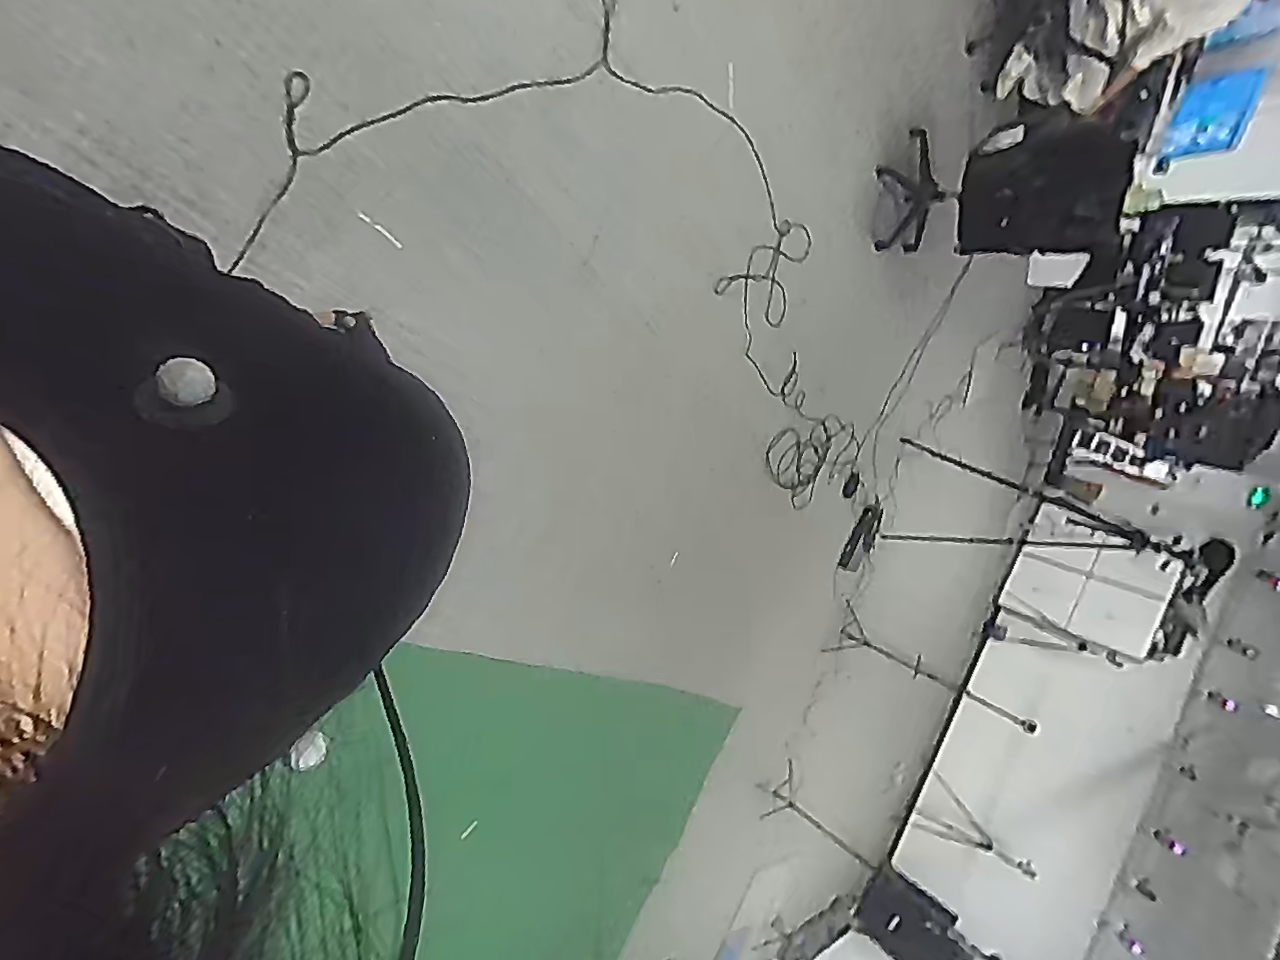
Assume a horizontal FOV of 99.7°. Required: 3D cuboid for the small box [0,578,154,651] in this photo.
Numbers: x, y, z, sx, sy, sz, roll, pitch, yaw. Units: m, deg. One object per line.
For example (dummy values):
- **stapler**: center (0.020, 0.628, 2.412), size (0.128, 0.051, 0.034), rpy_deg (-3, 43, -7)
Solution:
- **small box**: center (-0.972, 0.288, 0.912), size (0.168, 0.176, 0.179), rpy_deg (35, 81, -46)
